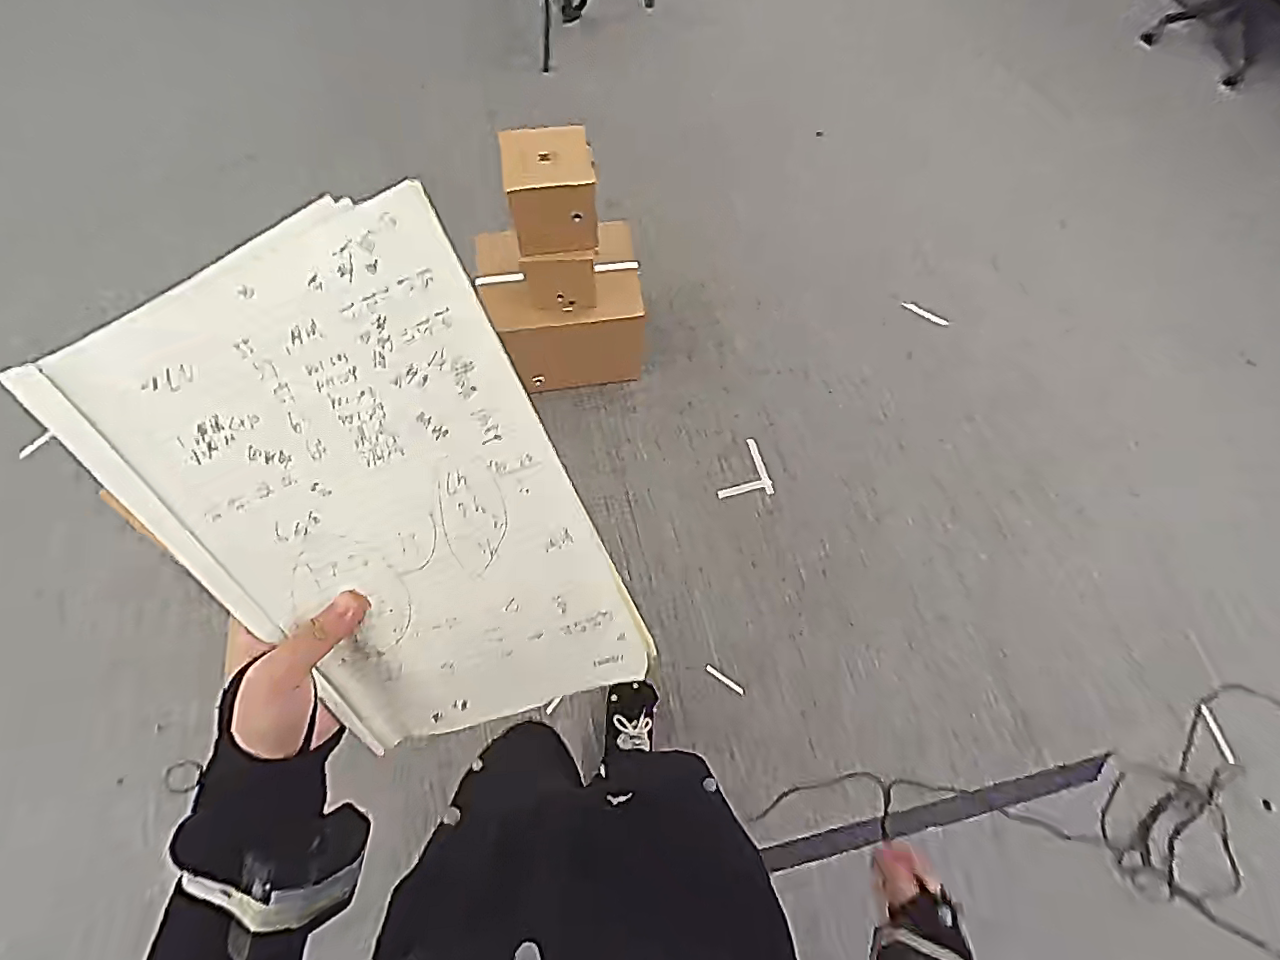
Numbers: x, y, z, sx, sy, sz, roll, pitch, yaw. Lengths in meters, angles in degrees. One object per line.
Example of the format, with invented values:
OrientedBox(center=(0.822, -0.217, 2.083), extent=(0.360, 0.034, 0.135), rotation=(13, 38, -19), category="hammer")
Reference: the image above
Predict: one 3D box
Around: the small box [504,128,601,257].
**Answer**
OrientedBox(center=(-0.177, -0.595, 1.131), extent=(0.179, 0.176, 0.168), rotation=(-9, 69, -5), category="small box")
